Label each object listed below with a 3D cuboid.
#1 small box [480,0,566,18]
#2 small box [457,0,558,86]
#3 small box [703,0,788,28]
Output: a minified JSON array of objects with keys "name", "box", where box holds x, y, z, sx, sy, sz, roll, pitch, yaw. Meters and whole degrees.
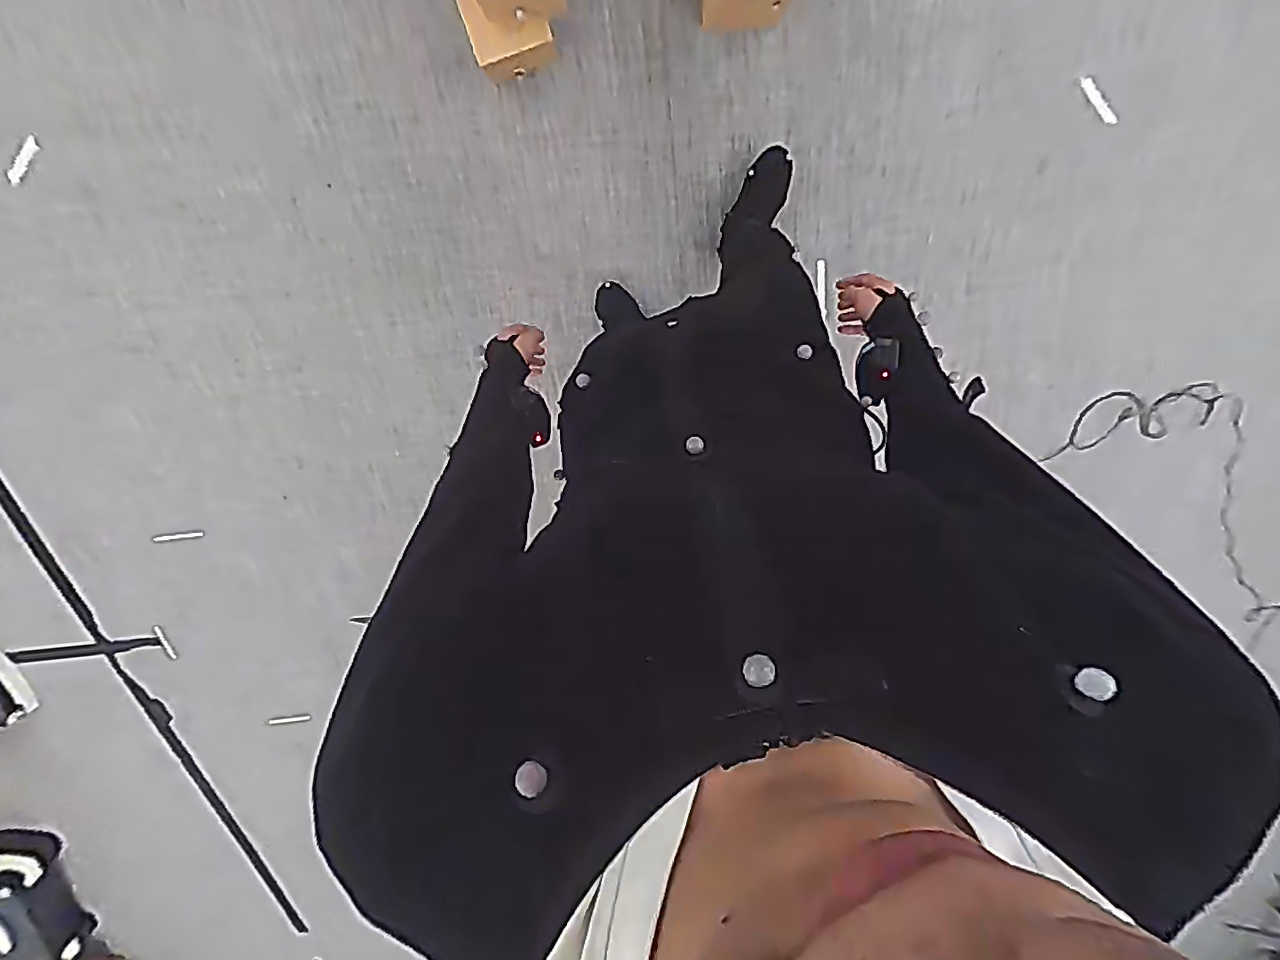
[{"name":"small box","box":[-0.227,-0.973,0.973,0.168,0.176,0.179,-3,114,-1]},{"name":"small box","box":[-0.283,-0.980,1.145,0.168,0.176,0.179,-17,114,4]},{"name":"small box","box":[0.227,-1.083,1.134,0.179,0.176,0.168,-7,114,-2]}]
